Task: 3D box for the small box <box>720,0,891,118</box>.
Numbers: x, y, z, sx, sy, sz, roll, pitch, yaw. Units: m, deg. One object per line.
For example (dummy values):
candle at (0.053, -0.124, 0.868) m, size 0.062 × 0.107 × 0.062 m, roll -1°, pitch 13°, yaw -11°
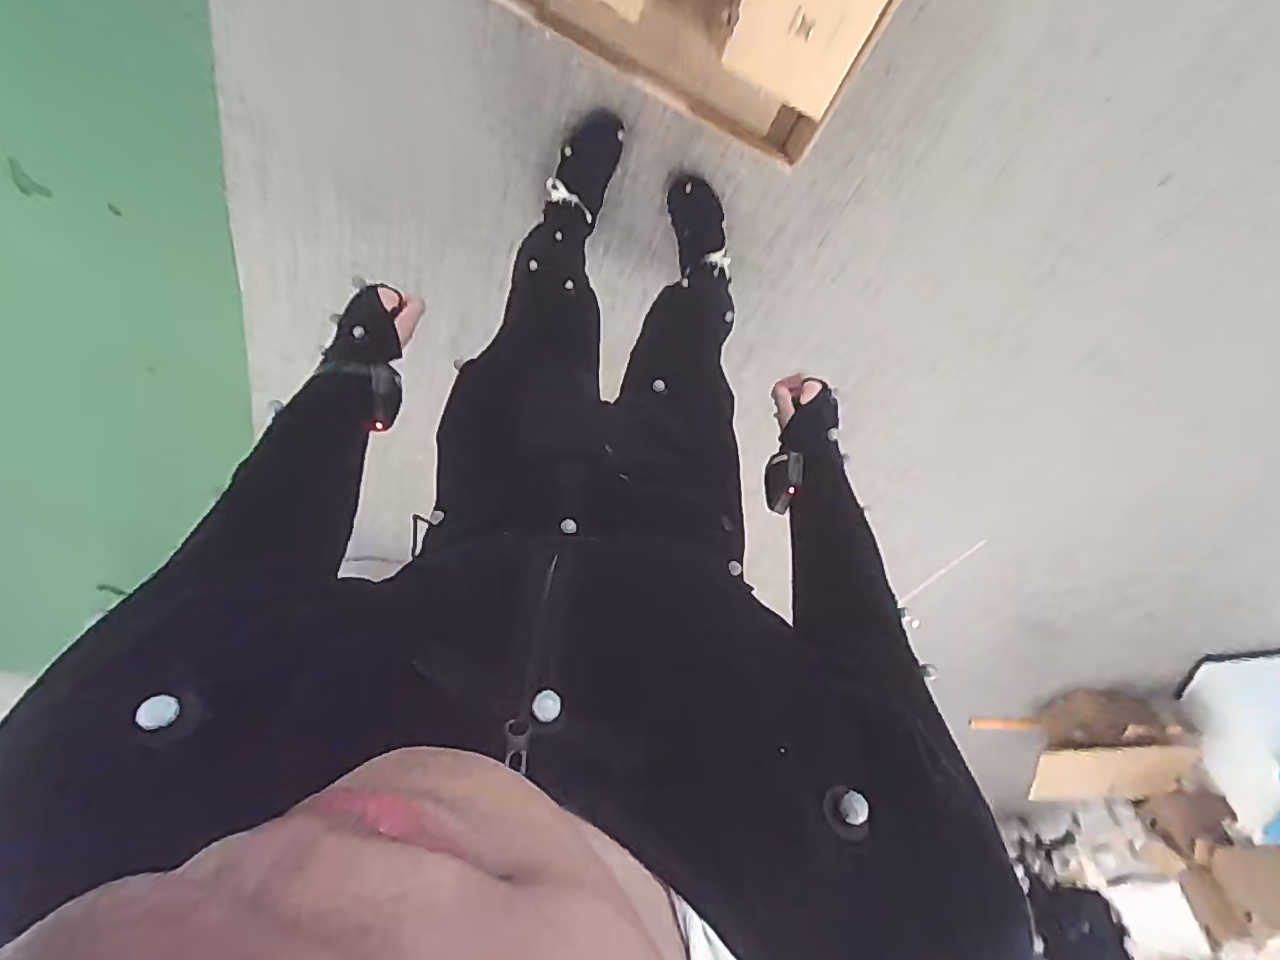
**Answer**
small box at (0.229, -0.673, 0.791) m, size 0.179 × 0.176 × 0.168 m, roll 19°, pitch 133°, yaw -14°
